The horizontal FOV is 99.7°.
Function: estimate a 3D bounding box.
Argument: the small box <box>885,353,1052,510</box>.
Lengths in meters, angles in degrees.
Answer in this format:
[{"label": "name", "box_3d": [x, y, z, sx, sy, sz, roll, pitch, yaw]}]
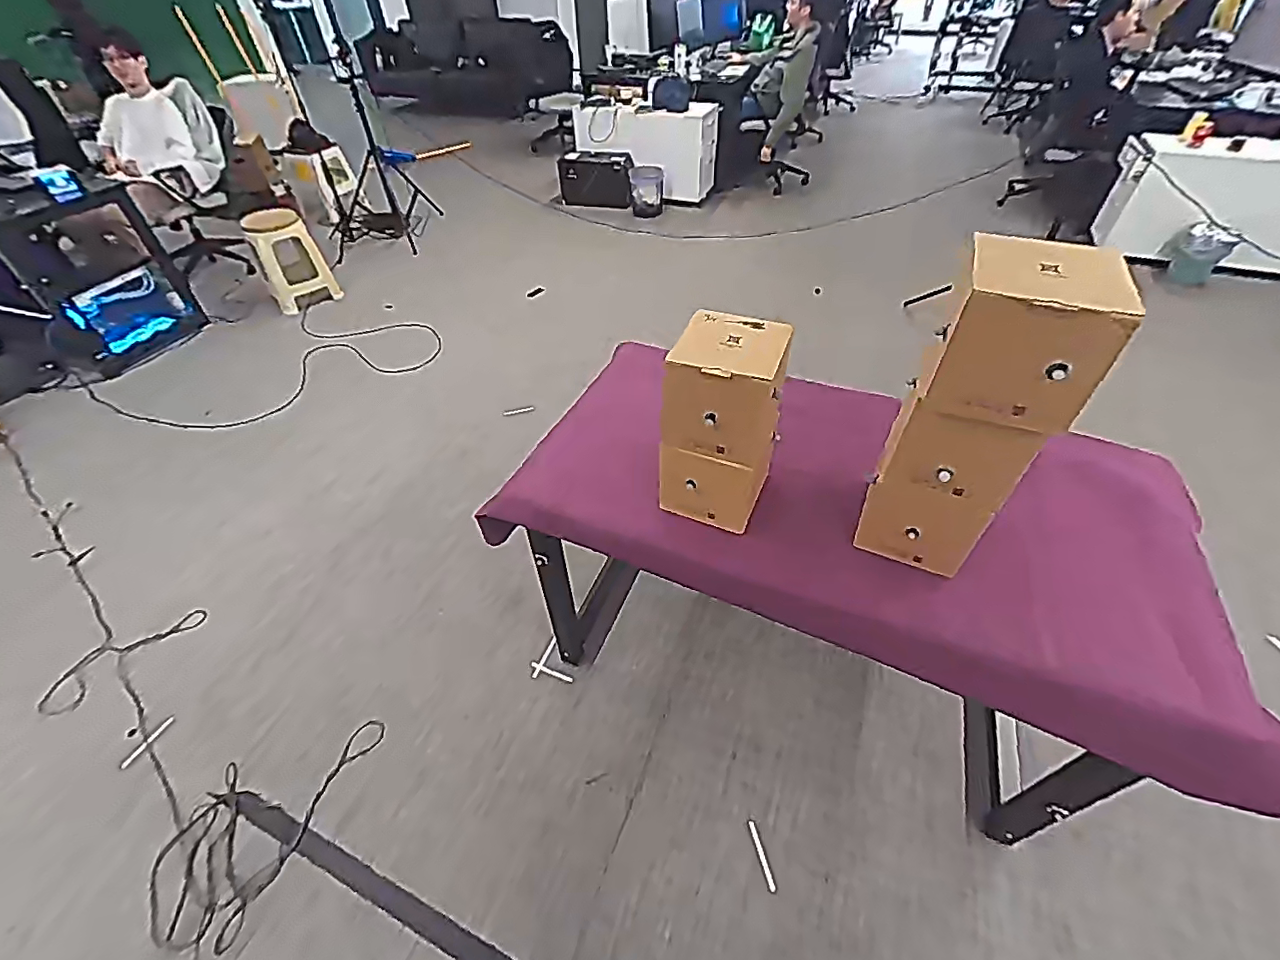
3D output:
[{"label": "small box", "box_3d": [0.489, -0.087, 0.819, 0.168, 0.176, 0.179, 18, 49, 19]}]

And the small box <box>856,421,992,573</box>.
[{"label": "small box", "box_3d": [0.488, 0.031, 0.934, 0.168, 0.176, 0.179, 19, 48, 19]}]

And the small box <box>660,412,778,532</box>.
[{"label": "small box", "box_3d": [0.145, -0.032, 1.007, 0.168, 0.176, 0.179, 17, 47, 17]}]

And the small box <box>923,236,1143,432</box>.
[{"label": "small box", "box_3d": [0.478, -0.186, 0.689, 0.168, 0.176, 0.179, 16, 47, 16]}]

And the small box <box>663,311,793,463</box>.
[{"label": "small box", "box_3d": [0.143, -0.153, 0.896, 0.168, 0.176, 0.179, 15, 47, 16]}]
